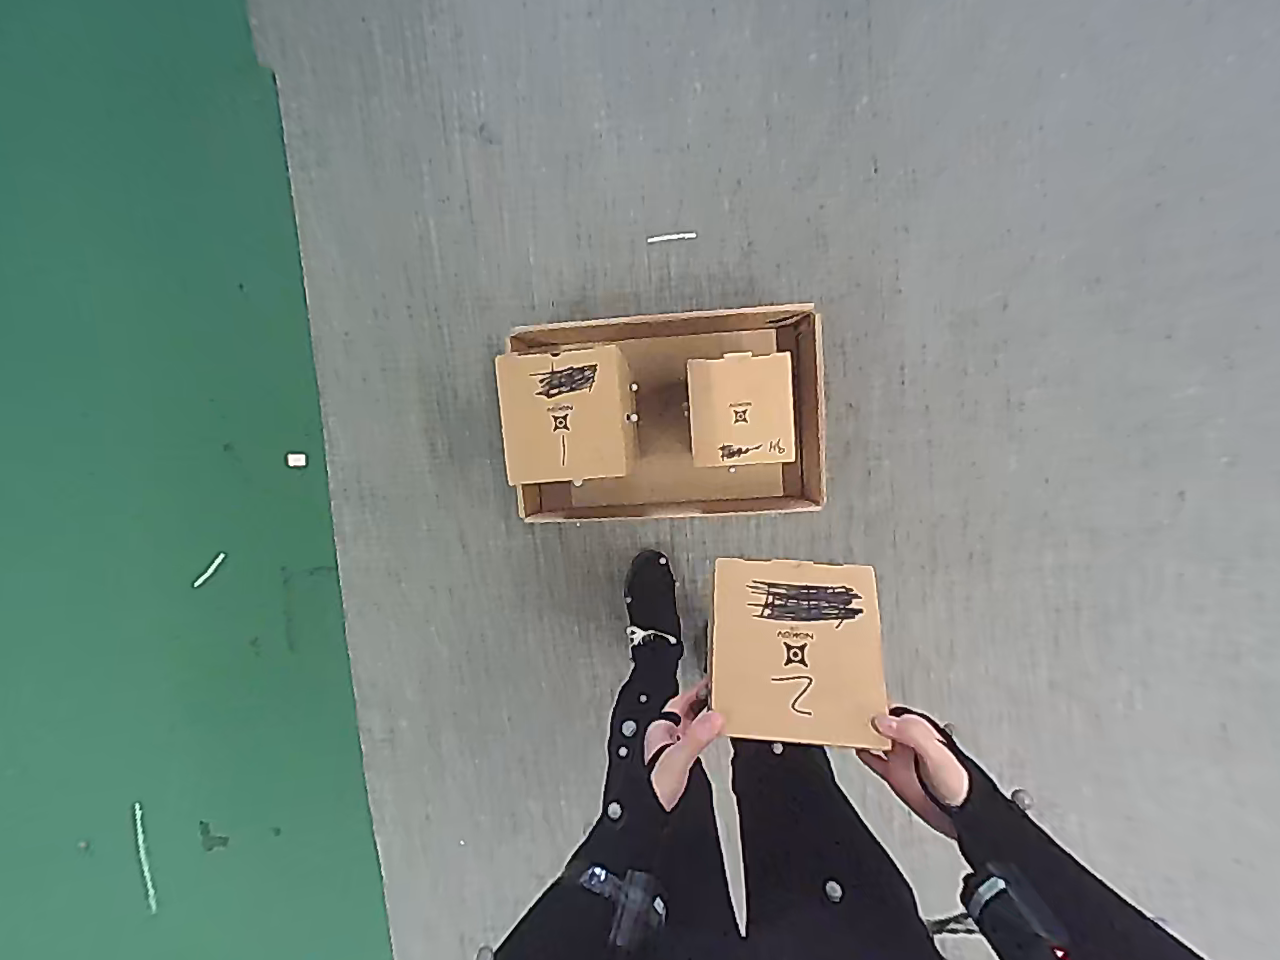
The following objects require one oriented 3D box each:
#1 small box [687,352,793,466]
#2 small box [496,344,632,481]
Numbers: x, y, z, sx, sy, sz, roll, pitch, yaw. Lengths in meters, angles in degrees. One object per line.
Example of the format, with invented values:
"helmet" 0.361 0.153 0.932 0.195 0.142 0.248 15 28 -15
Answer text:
"small box" 0.166 -0.117 0.941 0.168 0.176 0.179 -3 94 6
"small box" -0.103 -0.094 0.797 0.168 0.176 0.179 -4 95 4
